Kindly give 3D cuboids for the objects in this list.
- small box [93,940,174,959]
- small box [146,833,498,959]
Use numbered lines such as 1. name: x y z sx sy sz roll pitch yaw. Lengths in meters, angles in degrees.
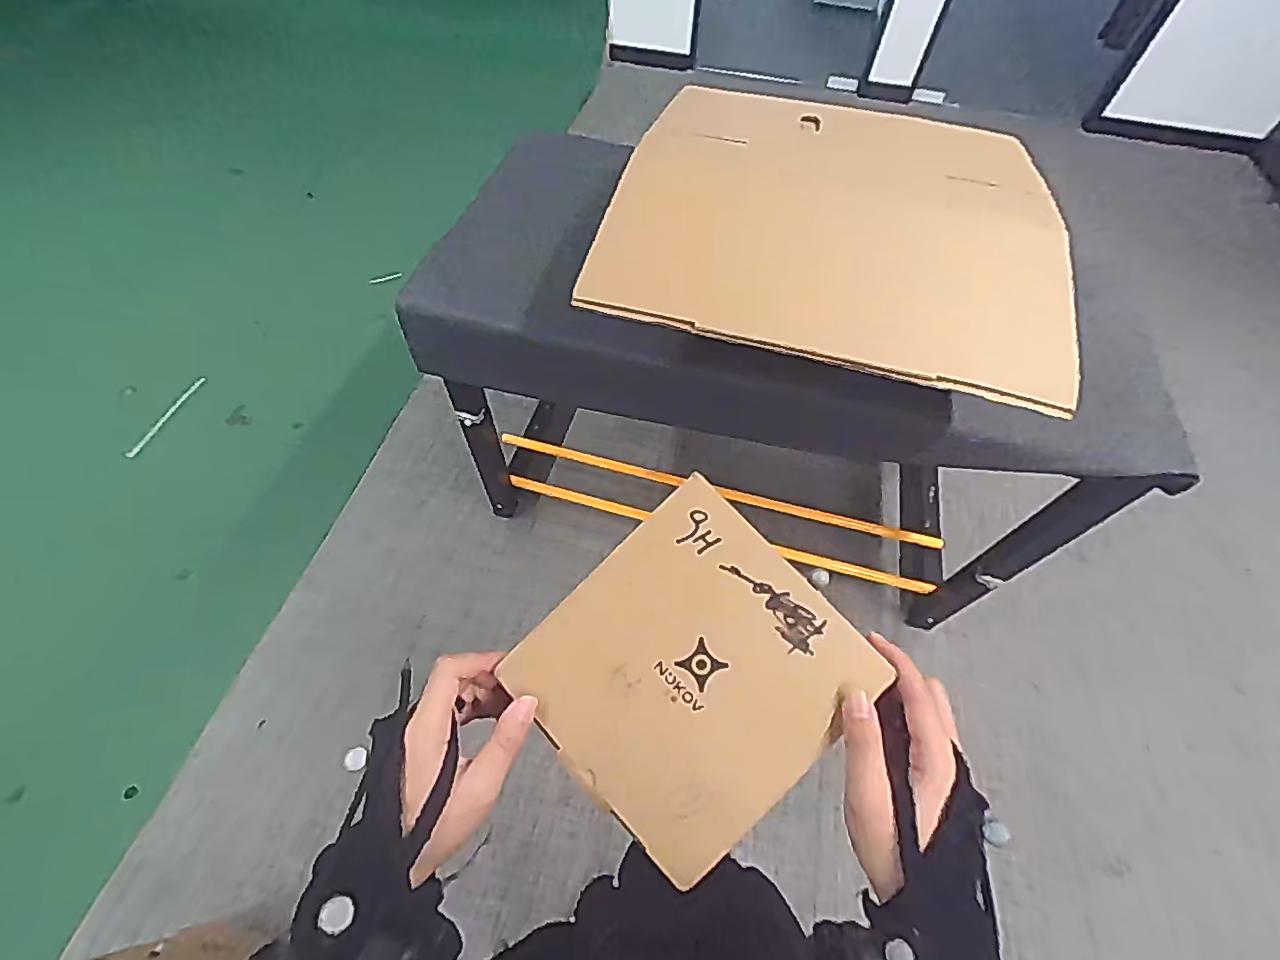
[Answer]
1. small box: -0.684 0.778 0.757 0.179 0.176 0.168 13 59 5
2. small box: -0.177 0.334 0.272 0.176 0.179 0.168 0 96 28
